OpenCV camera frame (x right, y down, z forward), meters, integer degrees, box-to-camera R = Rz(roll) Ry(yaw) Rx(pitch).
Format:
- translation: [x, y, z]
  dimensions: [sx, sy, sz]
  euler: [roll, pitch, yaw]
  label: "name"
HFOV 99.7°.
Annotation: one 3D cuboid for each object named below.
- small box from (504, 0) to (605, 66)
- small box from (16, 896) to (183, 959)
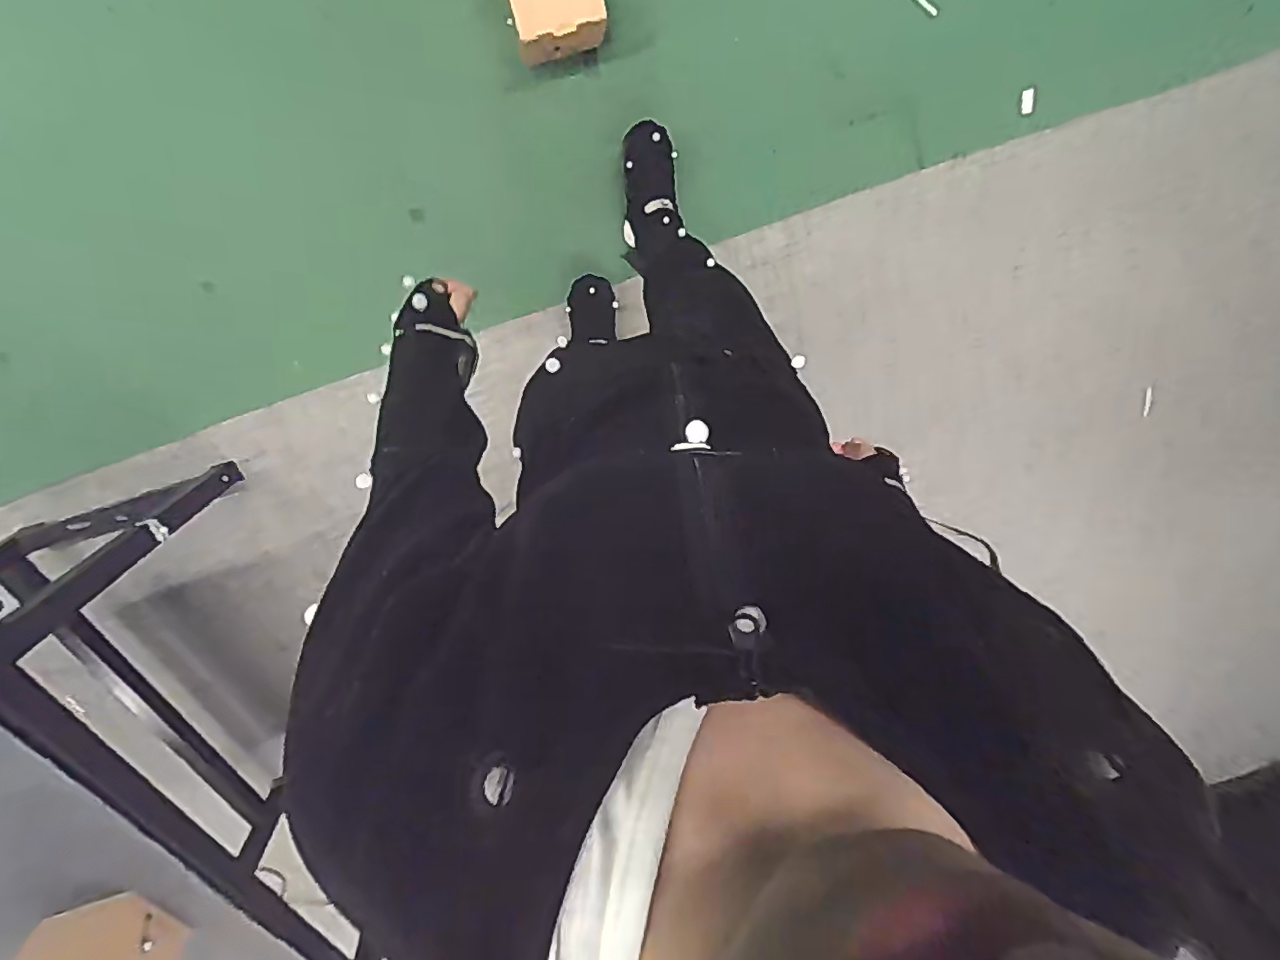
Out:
- translation: [-0.174, -0.924, 1.020]
  dimensions: [0.168, 0.176, 0.179]
  euler: [-17, 117, -1]
  label: "small box"
- translation: [-0.964, 0.870, 0.935]
  dimensions: [0.179, 0.176, 0.168]
  euler: [-18, 117, 1]
  label: "small box"
